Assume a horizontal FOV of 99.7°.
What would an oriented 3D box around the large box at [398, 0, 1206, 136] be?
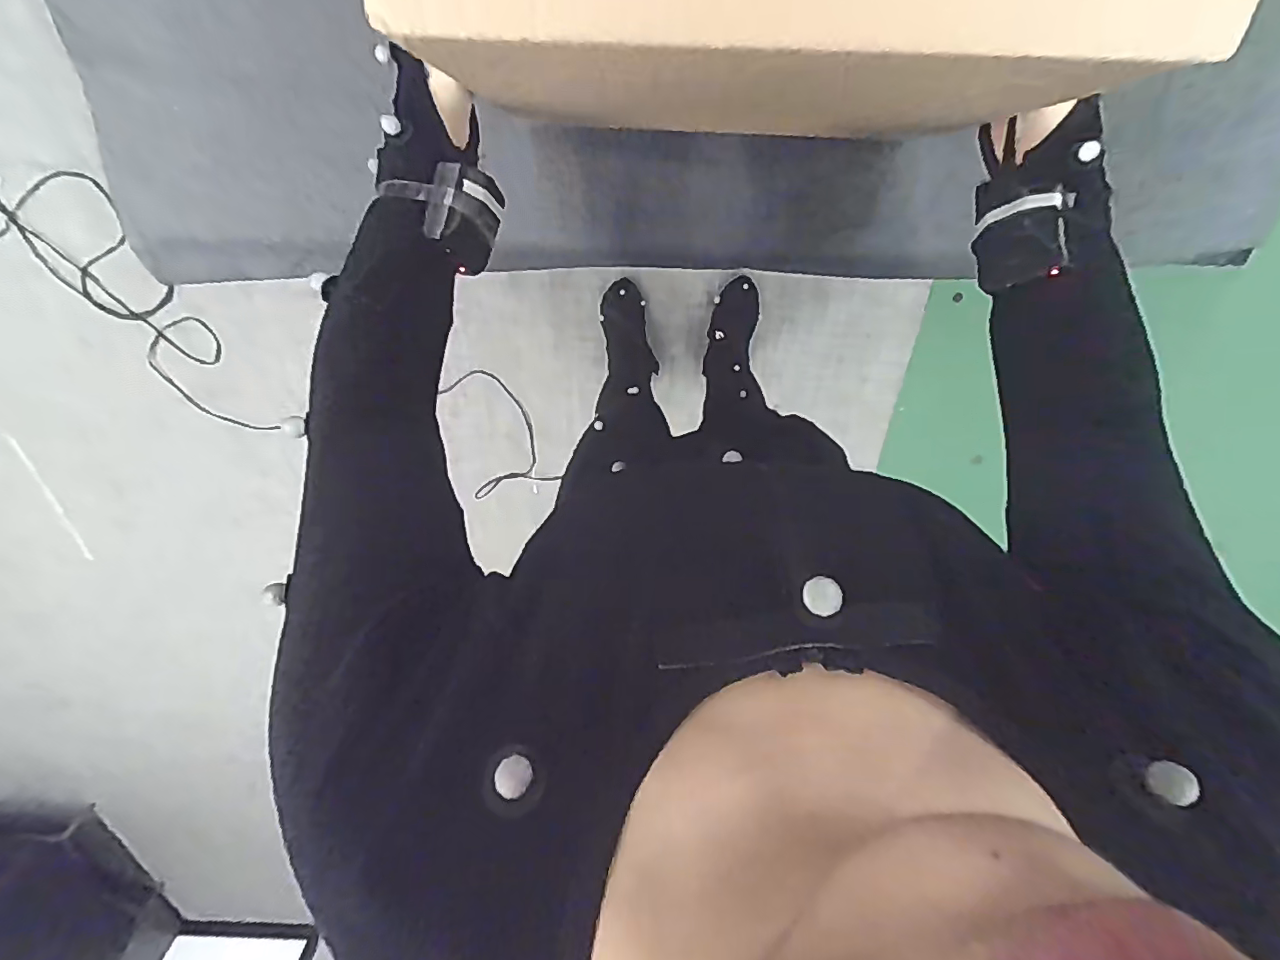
[{"bbox_3d":[0.080,-0.416,0.340,0.408,0.320,0.320,2,118,0],"label":"large box"}]
